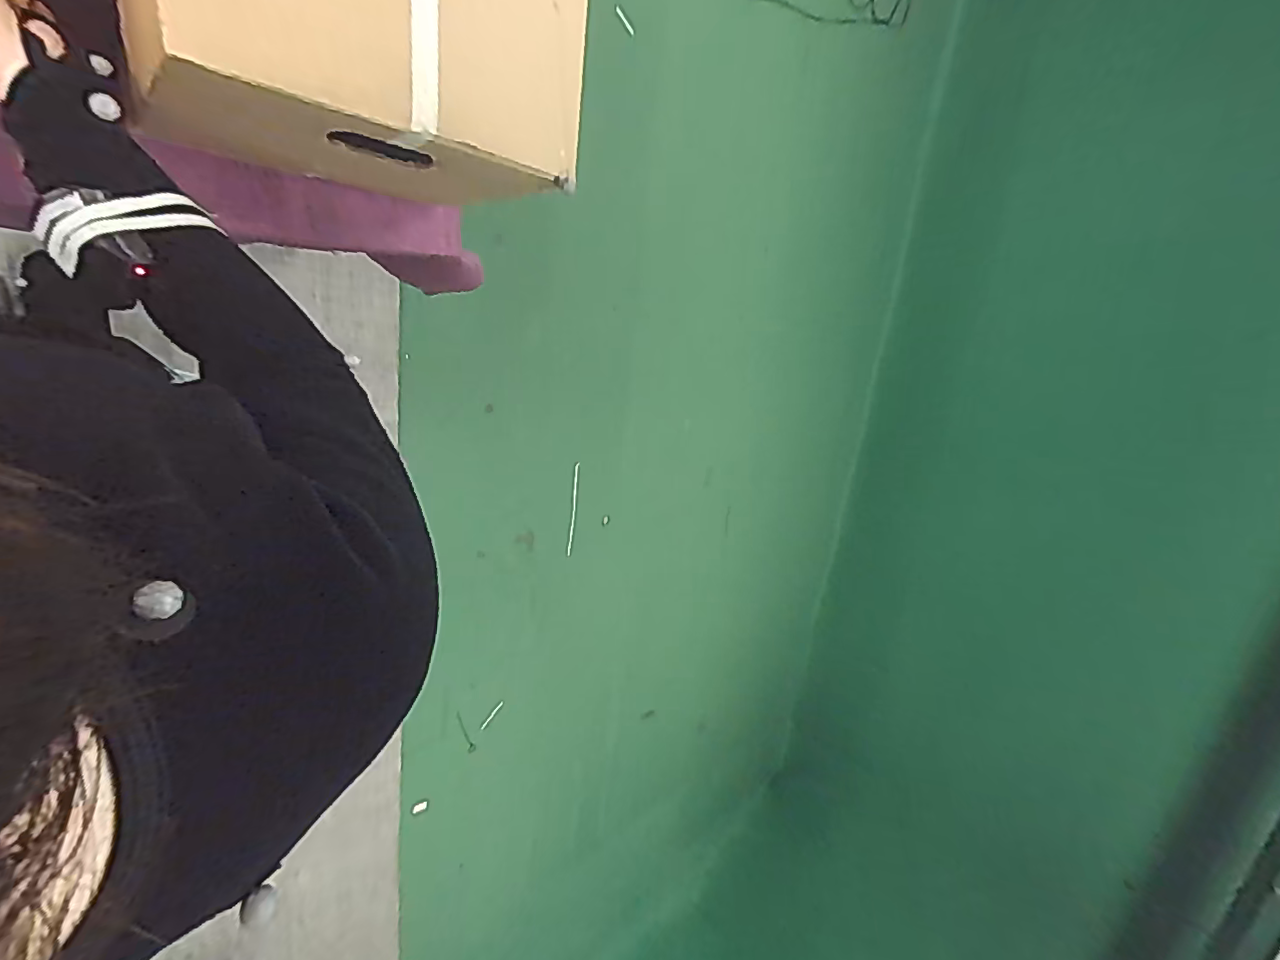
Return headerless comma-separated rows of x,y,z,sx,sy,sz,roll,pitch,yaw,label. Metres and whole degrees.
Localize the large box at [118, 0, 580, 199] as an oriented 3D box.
-0.264,-0.512,0.486,0.320,0.320,0.408,-10,114,-44,large box
